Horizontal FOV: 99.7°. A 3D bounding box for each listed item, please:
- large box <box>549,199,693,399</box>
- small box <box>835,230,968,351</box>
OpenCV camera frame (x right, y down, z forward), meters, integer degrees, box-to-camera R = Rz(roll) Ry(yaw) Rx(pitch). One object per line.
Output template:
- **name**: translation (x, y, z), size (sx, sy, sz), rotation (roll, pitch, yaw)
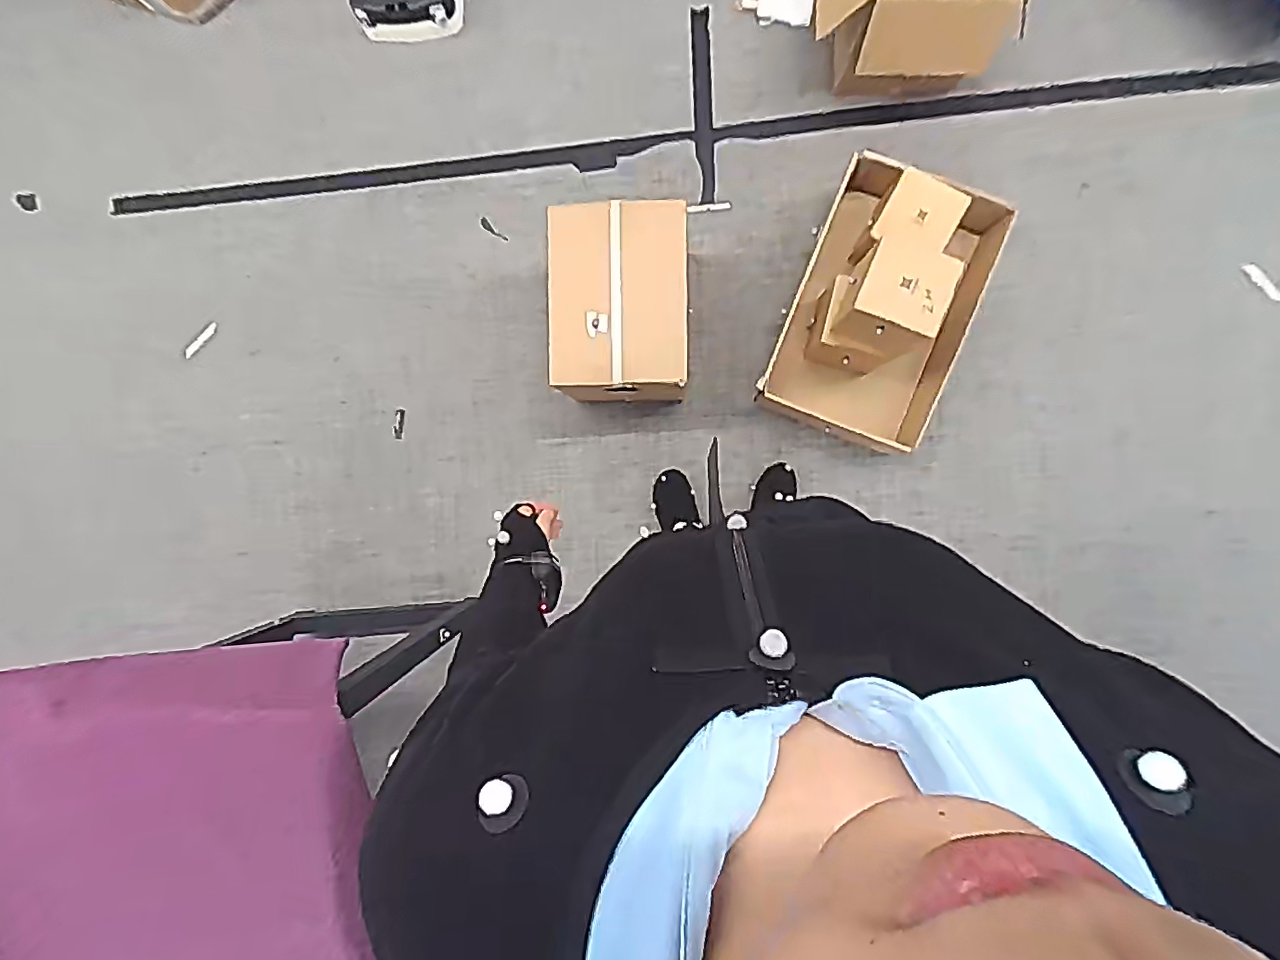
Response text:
- **large box**: translation (-0.032, -0.419, 1.343), size (0.320, 0.320, 0.408), rotation (-1, 93, 5)
- **small box**: translation (0.545, -0.394, 1.156), size (0.179, 0.176, 0.168), rotation (23, 91, 2)
